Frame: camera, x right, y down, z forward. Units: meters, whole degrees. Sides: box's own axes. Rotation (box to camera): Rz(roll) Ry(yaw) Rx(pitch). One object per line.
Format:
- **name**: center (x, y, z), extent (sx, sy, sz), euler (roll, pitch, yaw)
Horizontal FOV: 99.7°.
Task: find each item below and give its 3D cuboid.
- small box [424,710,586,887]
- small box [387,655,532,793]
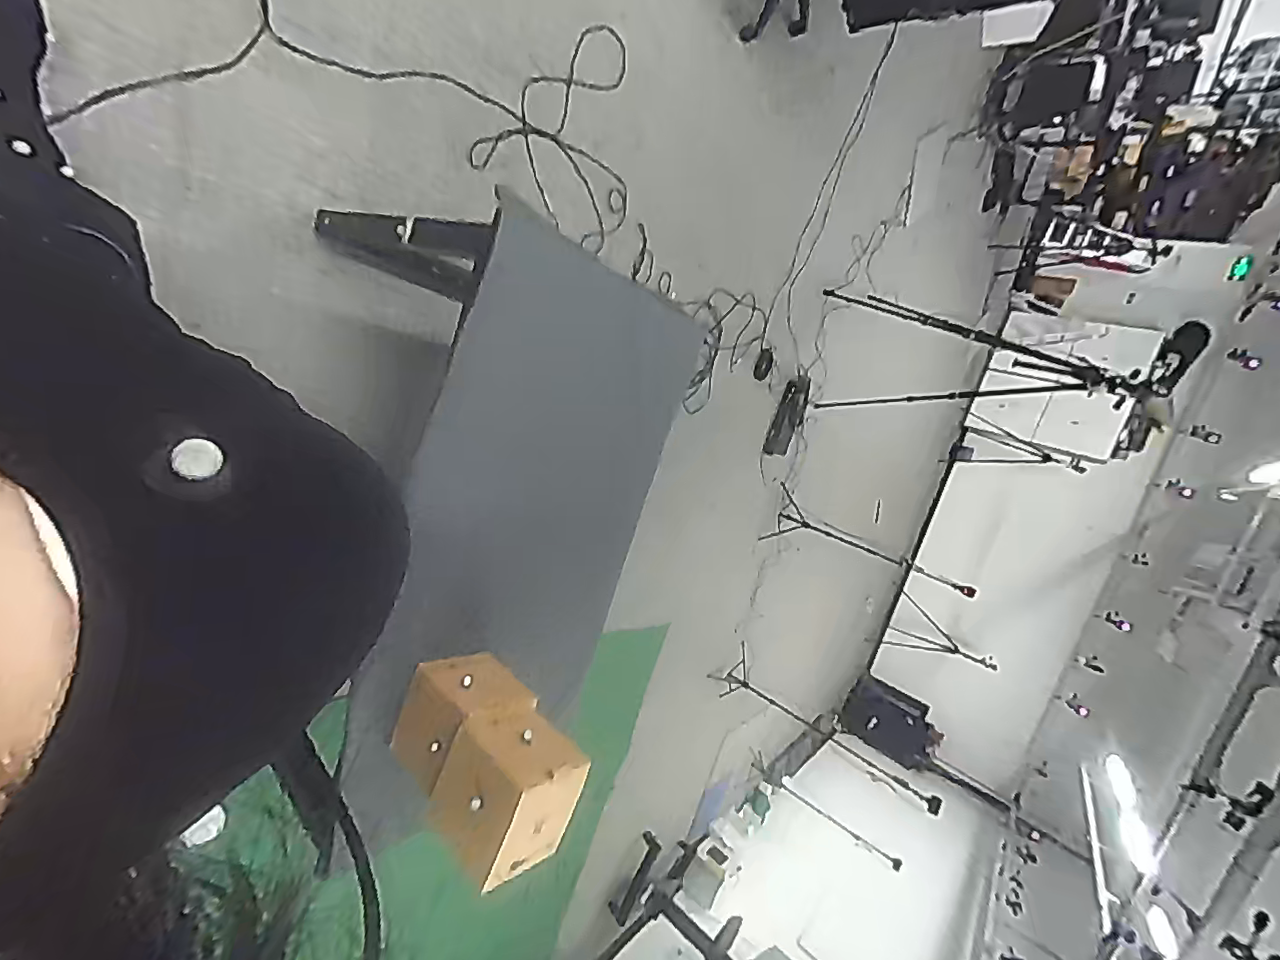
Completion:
- **small box**: center (-0.226, 0.504, 0.895), extent (0.168, 0.176, 0.179), euler (19, 93, -55)
- **small box**: center (-0.336, 0.441, 1.000), extent (0.168, 0.176, 0.179), euler (14, 99, -55)
